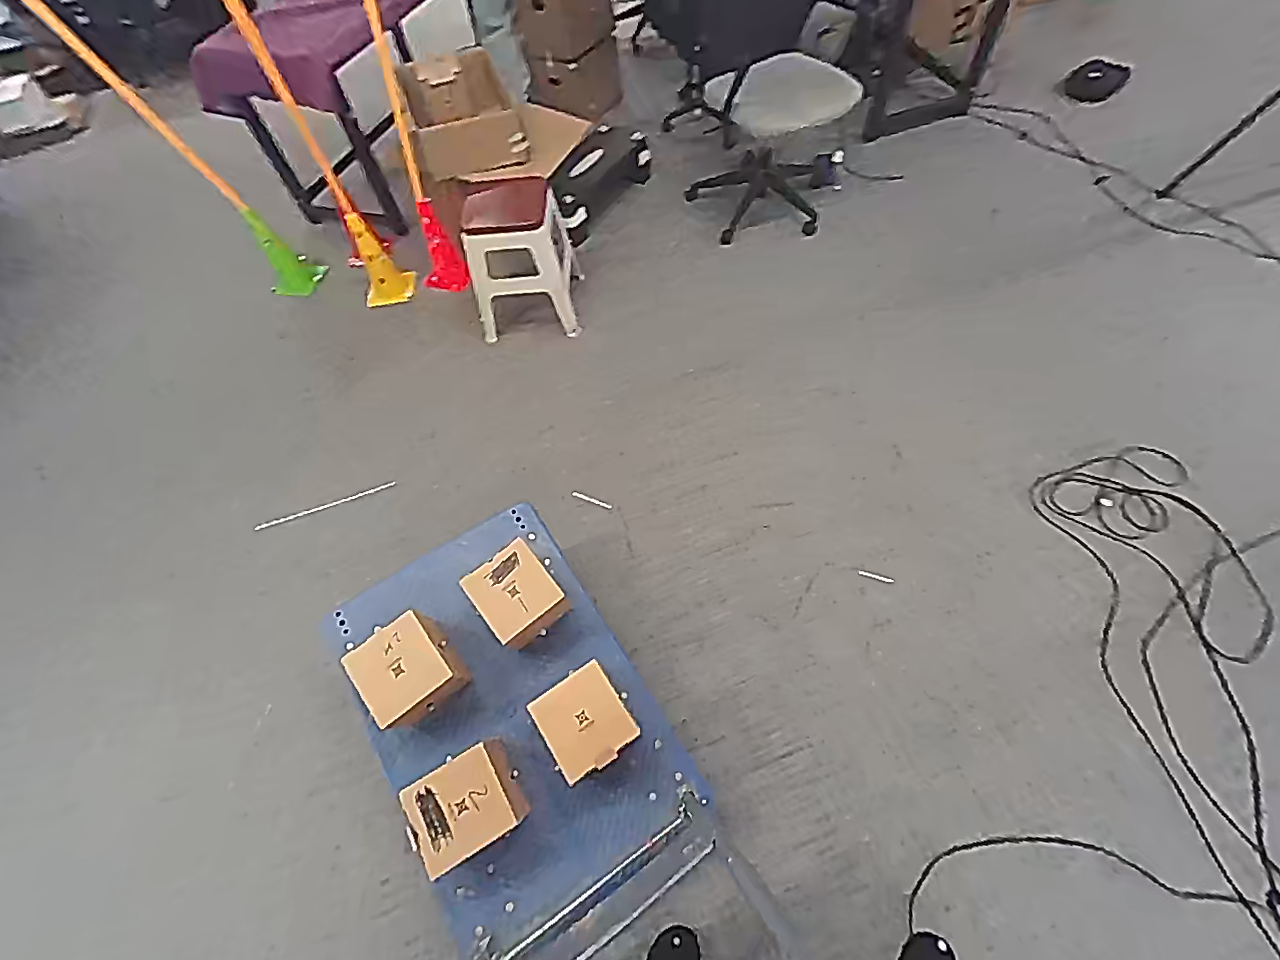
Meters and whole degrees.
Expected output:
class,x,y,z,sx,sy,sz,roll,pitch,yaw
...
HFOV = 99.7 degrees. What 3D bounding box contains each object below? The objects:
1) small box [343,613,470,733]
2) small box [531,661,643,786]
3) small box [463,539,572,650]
class,x,y,z,sx,sy,sz,roll,pitch,yaw
small box,-0.495,0.417,1.174,0.168,0.176,0.179,-36,73,-16
small box,-0.111,0.513,1.150,0.168,0.176,0.179,-32,73,-14
small box,-0.275,0.270,1.243,0.168,0.176,0.179,-37,74,-15
